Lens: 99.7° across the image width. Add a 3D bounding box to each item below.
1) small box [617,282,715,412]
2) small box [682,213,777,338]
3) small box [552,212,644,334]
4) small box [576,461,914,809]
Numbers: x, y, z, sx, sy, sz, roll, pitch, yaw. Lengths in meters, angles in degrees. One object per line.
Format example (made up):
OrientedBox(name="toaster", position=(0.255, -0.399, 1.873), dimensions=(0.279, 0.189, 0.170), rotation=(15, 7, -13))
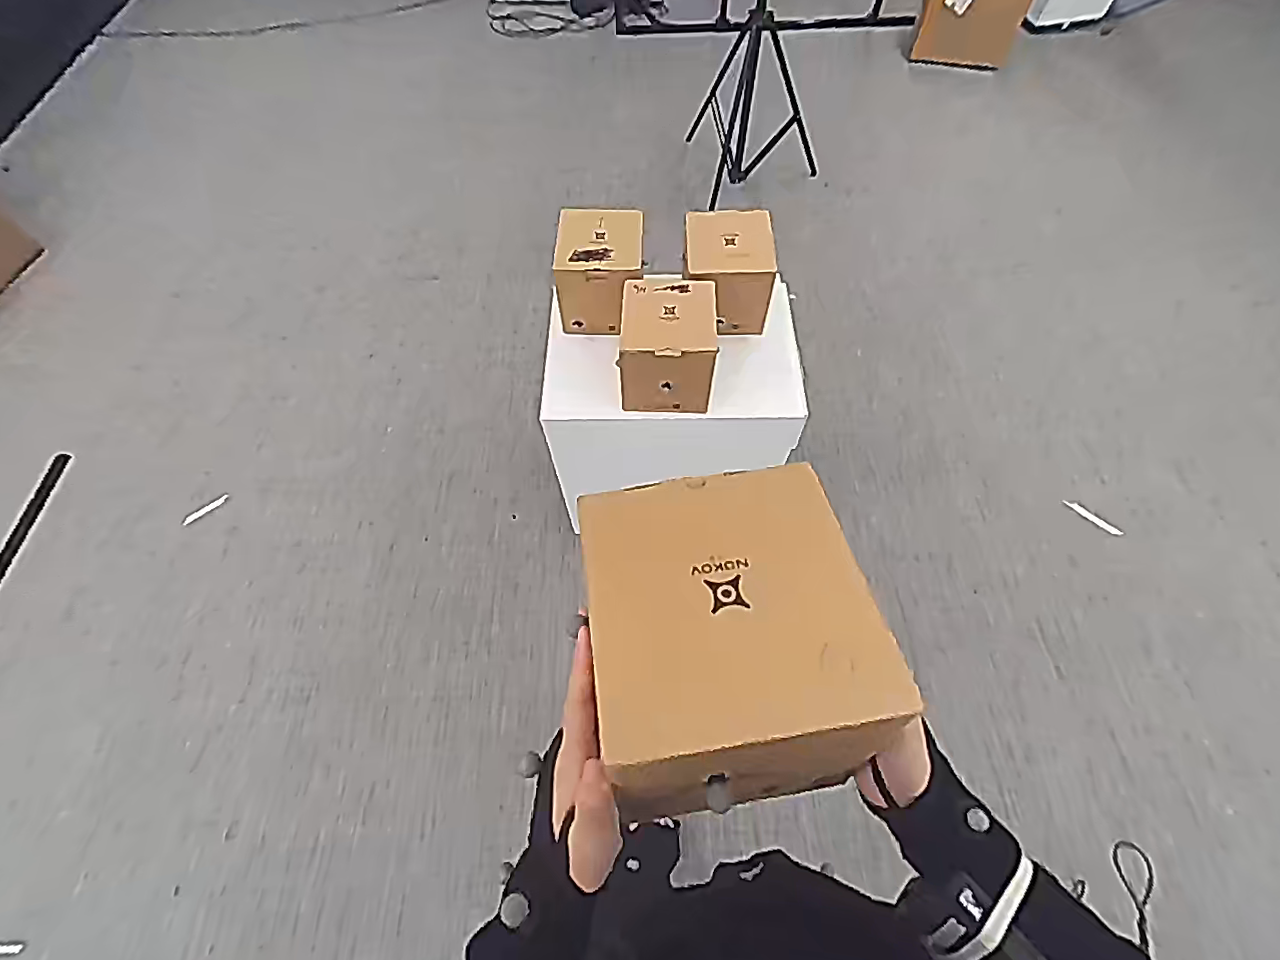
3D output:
OrientedBox(name="small box", position=(0.050, -0.242, 1.004), dimensions=(0.168, 0.176, 0.179), rotation=(2, 61, 2))
OrientedBox(name="small box", position=(0.173, -0.412, 1.097), dimensions=(0.168, 0.176, 0.179), rotation=(-1, 63, 2))
OrientedBox(name="small box", position=(-0.078, -0.415, 1.100), dimensions=(0.168, 0.176, 0.179), rotation=(1, 61, 1))
OrientedBox(name="small box", position=(0.052, 0.114, 0.382), dimensions=(0.168, 0.176, 0.179), rotation=(-8, 49, -4))
